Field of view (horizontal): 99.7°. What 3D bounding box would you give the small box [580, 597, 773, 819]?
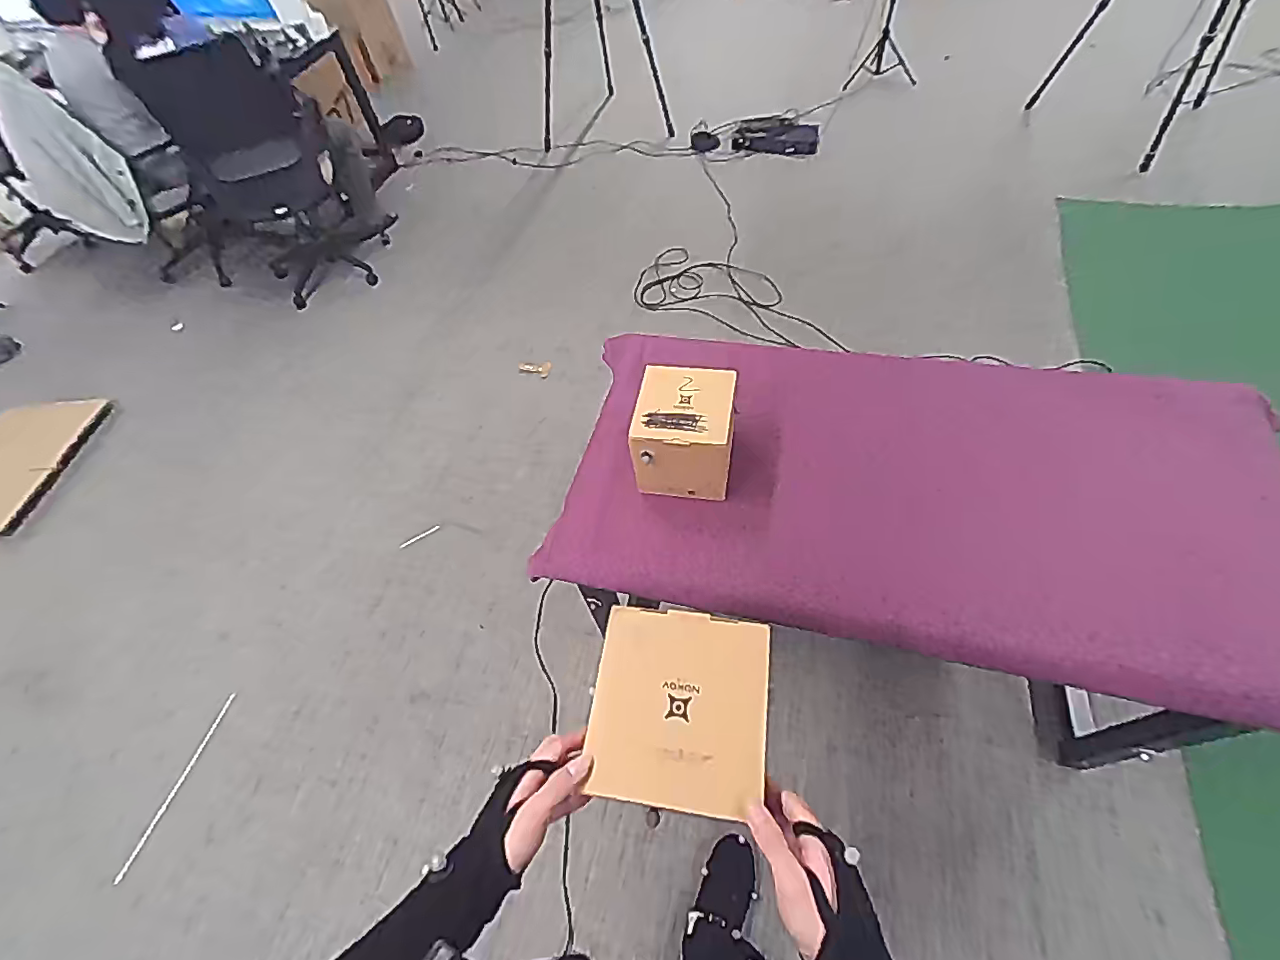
[{"bbox_3d":[0.045,0.247,0.580,0.168,0.176,0.179,6,59,9],"label":"small box"}]
